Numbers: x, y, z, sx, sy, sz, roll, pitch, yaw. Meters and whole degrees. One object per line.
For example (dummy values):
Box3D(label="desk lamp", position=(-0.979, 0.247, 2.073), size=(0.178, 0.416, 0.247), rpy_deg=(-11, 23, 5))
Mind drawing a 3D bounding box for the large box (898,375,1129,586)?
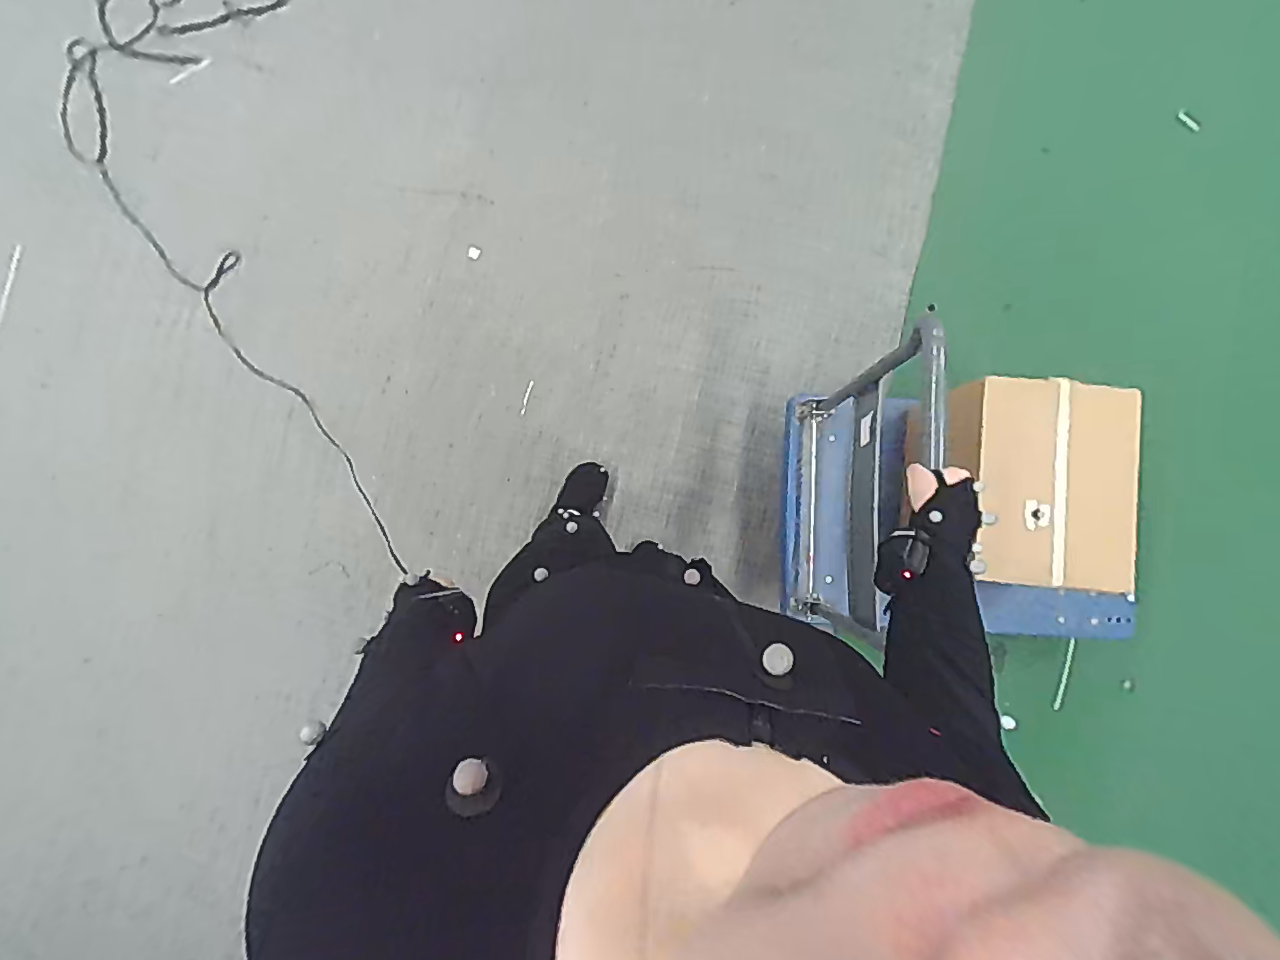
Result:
Box3D(label="large box", position=(0.807, 0.007, 1.212), size=(0.320, 0.320, 0.408), rpy_deg=(5, 86, 0))
